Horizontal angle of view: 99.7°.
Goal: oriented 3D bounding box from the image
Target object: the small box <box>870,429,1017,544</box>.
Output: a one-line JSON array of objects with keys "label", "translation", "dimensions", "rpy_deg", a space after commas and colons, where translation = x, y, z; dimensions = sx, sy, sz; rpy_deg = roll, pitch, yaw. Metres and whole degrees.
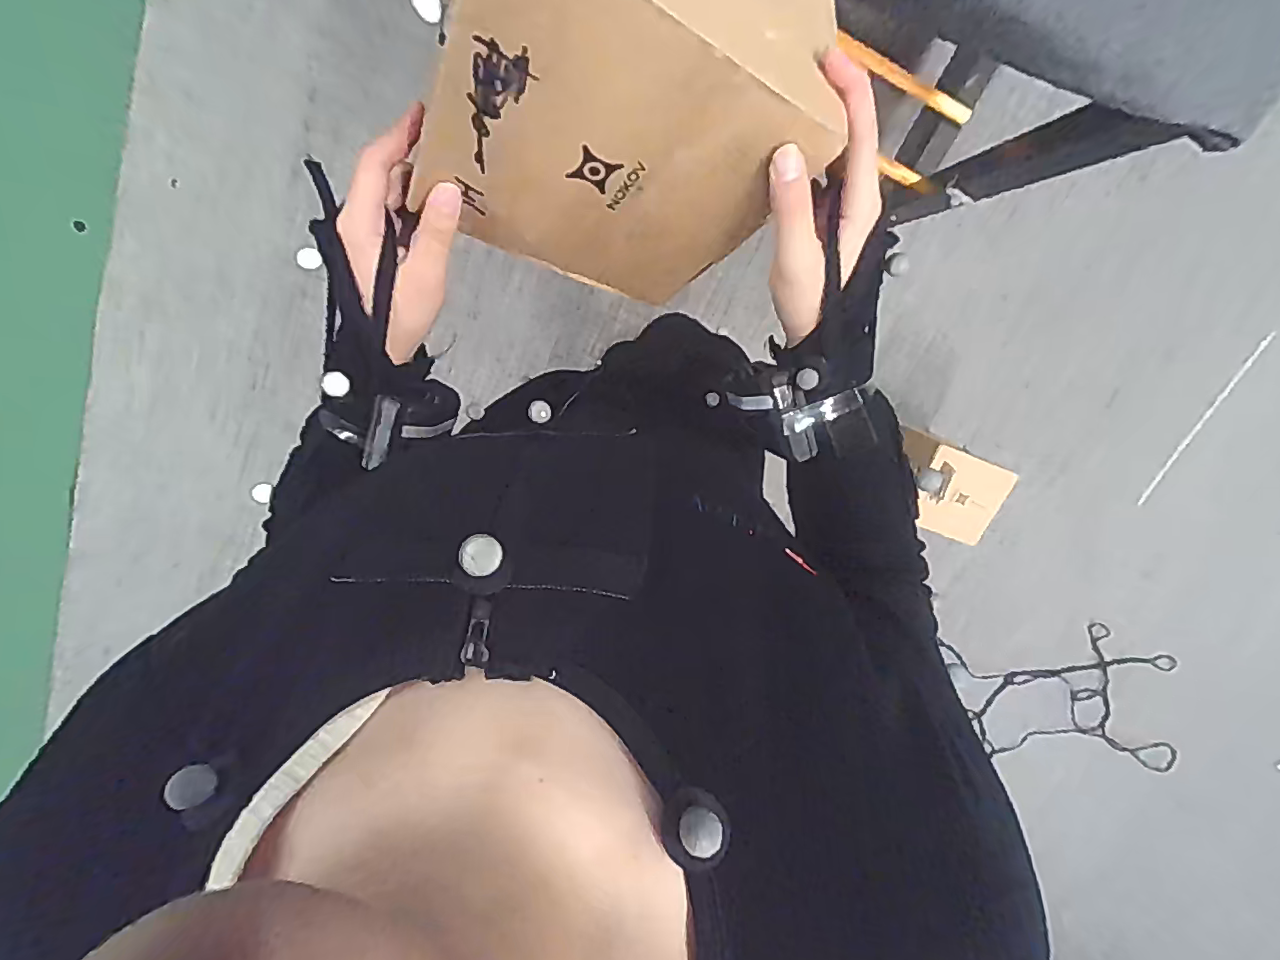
[{"label": "small box", "translation": [0.616, 0.005, 1.125], "dimensions": [0.179, 0.176, 0.168], "rpy_deg": [19, 107, -7]}]

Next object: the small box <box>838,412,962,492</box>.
[{"label": "small box", "translation": [0.605, -0.050, 1.280], "dimensions": [0.179, 0.176, 0.168], "rpy_deg": [19, 106, -6]}]

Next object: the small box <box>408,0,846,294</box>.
[{"label": "small box", "translation": [-0.013, -0.241, 0.300], "dimensions": [0.179, 0.168, 0.176], "rpy_deg": [10, 71, -30]}]
